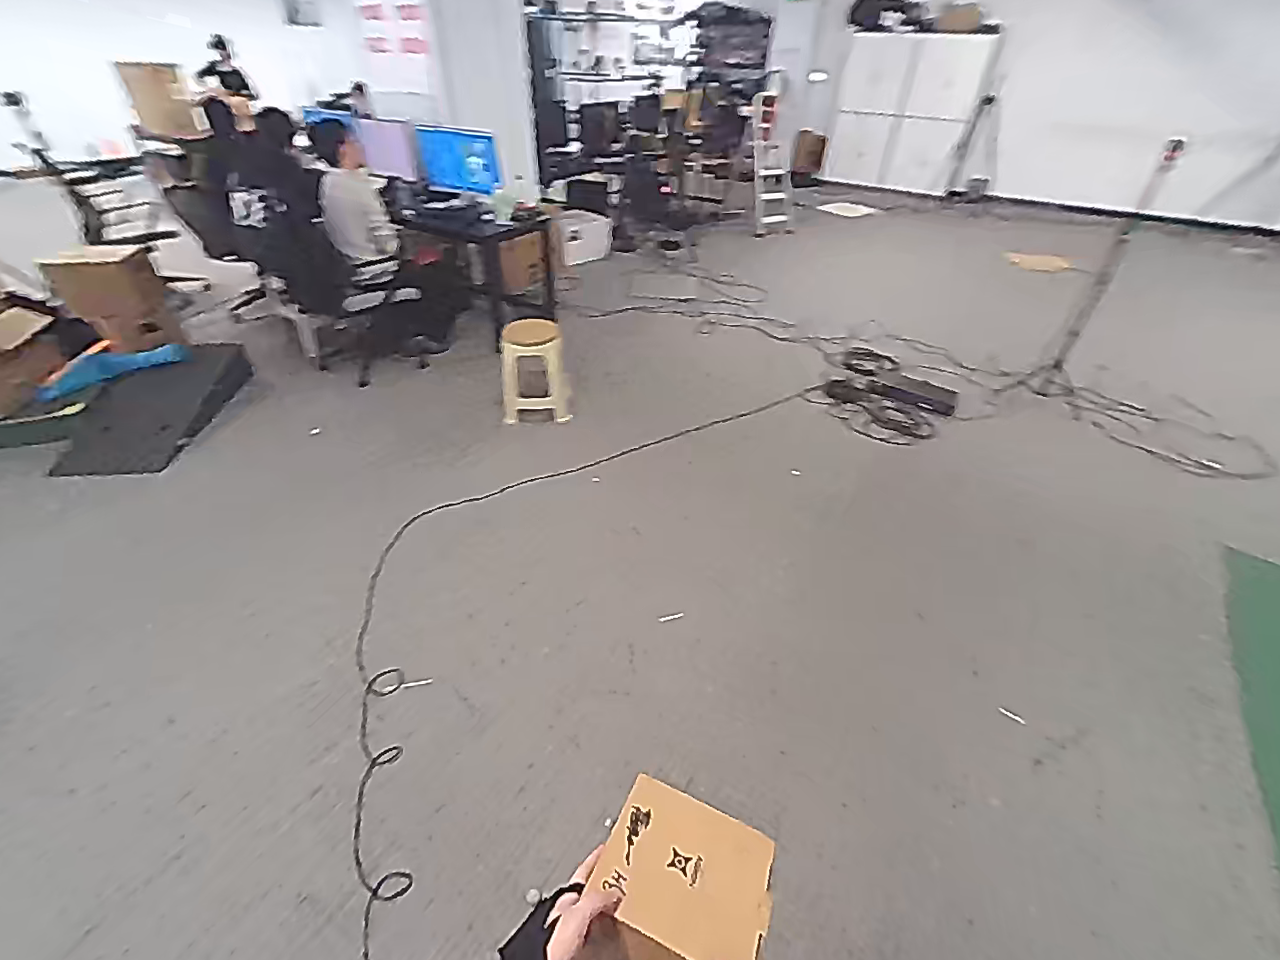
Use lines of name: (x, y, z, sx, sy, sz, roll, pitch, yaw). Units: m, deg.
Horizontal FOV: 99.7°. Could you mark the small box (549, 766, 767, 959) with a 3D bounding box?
small box: (0.021, 0.478, 0.608, 0.179, 0.176, 0.168, 22, 22, 15)
